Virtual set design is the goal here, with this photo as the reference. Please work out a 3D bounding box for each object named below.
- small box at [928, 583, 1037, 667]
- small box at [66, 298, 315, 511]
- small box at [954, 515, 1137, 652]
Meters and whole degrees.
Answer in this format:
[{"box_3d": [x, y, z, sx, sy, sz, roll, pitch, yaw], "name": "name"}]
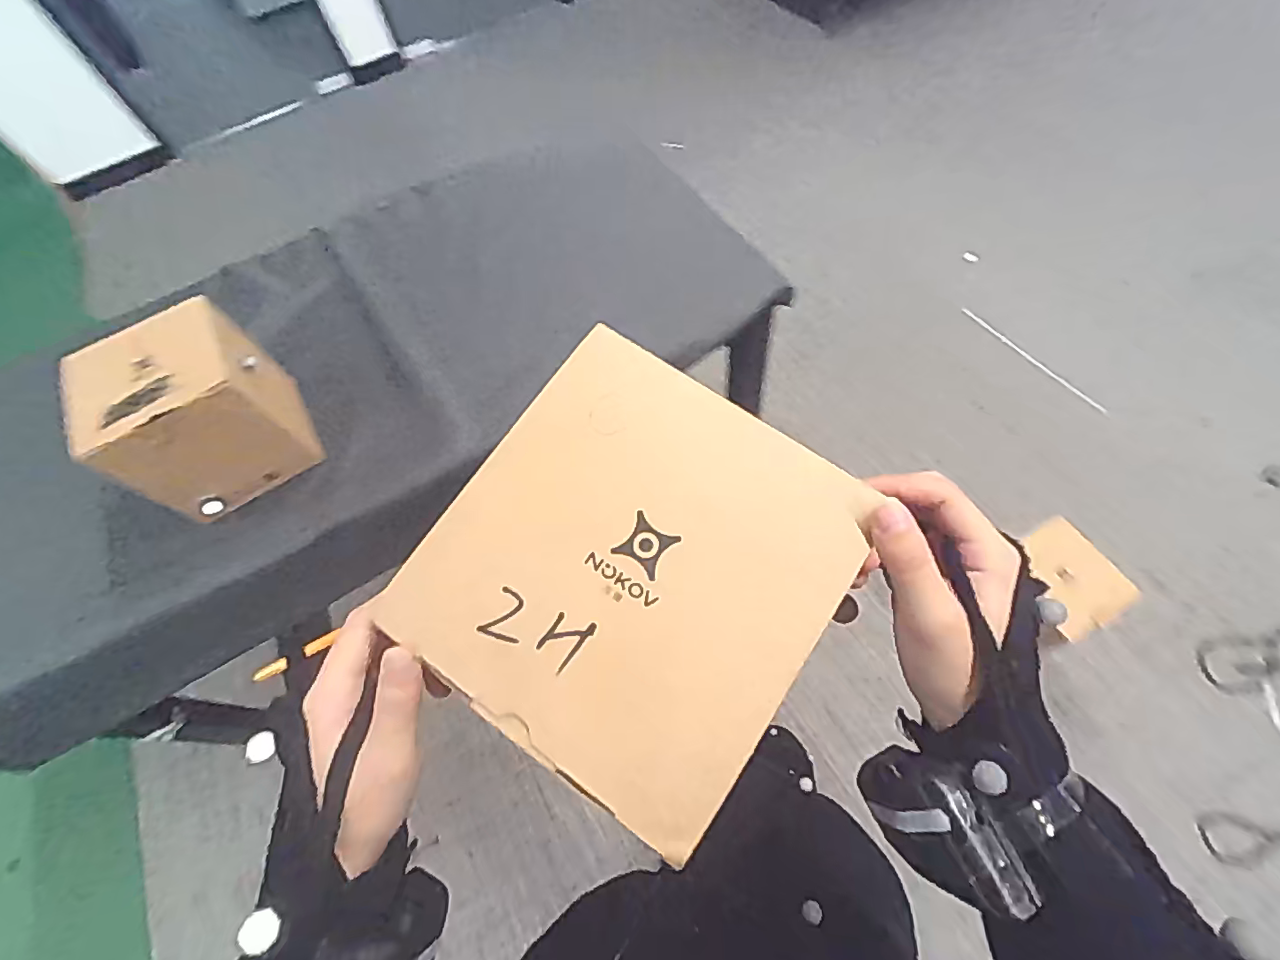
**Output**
[{"box_3d": [0.758, 0.279, 1.145, 0.168, 0.176, 0.179, -26, 63, -7], "name": "small box"}, {"box_3d": [-0.547, -0.082, 0.677, 0.168, 0.176, 0.179, -32, 61, -11], "name": "small box"}, {"box_3d": [0.734, 0.201, 1.004, 0.168, 0.176, 0.179, -28, 61, -9], "name": "small box"}]
